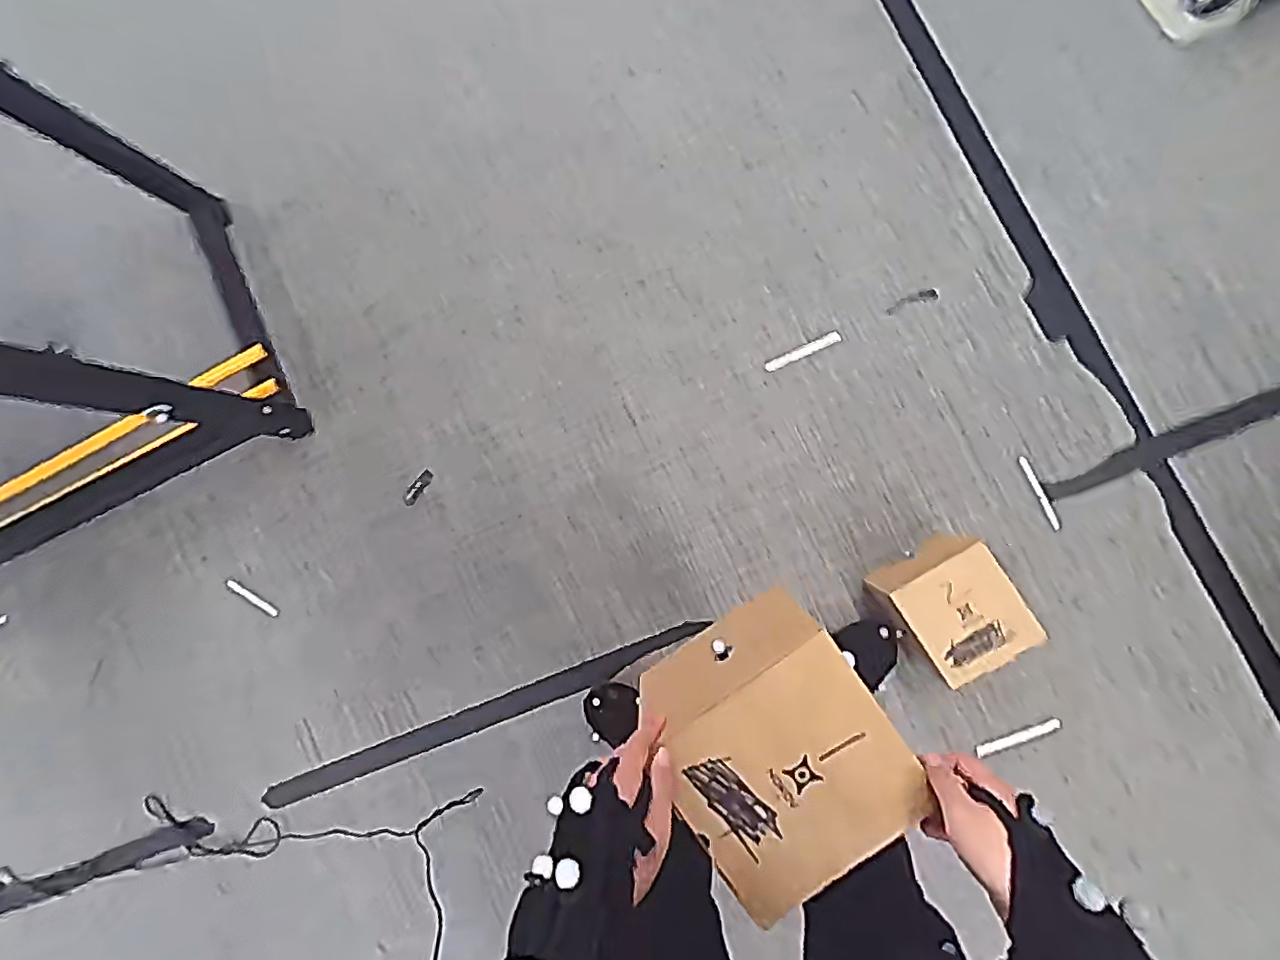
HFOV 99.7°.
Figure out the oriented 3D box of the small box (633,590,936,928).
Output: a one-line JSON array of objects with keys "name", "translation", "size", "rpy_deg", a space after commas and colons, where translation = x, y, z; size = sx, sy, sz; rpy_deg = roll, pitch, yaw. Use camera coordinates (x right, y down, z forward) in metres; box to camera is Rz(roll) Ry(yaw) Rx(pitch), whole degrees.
[{"name": "small box", "translation": [0.111, 0.226, 0.489], "size": [0.179, 0.176, 0.168], "rpy_deg": [-36, 91, 0]}]
